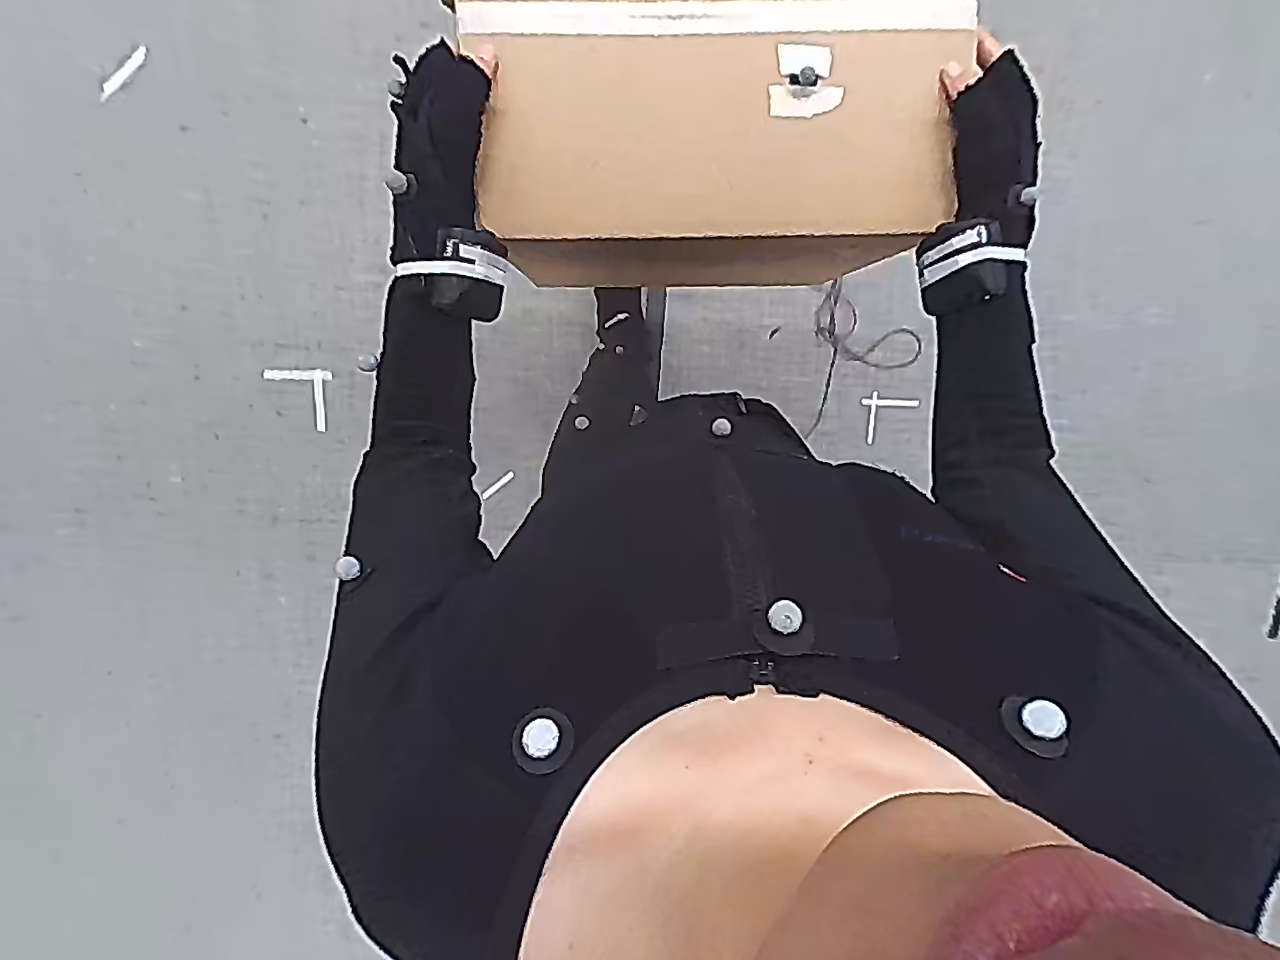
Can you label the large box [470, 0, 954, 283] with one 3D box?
[{"bbox_3d":[0.053,-0.403,0.588,0.408,0.320,0.320,-2,103,-2],"label":"large box"}]
